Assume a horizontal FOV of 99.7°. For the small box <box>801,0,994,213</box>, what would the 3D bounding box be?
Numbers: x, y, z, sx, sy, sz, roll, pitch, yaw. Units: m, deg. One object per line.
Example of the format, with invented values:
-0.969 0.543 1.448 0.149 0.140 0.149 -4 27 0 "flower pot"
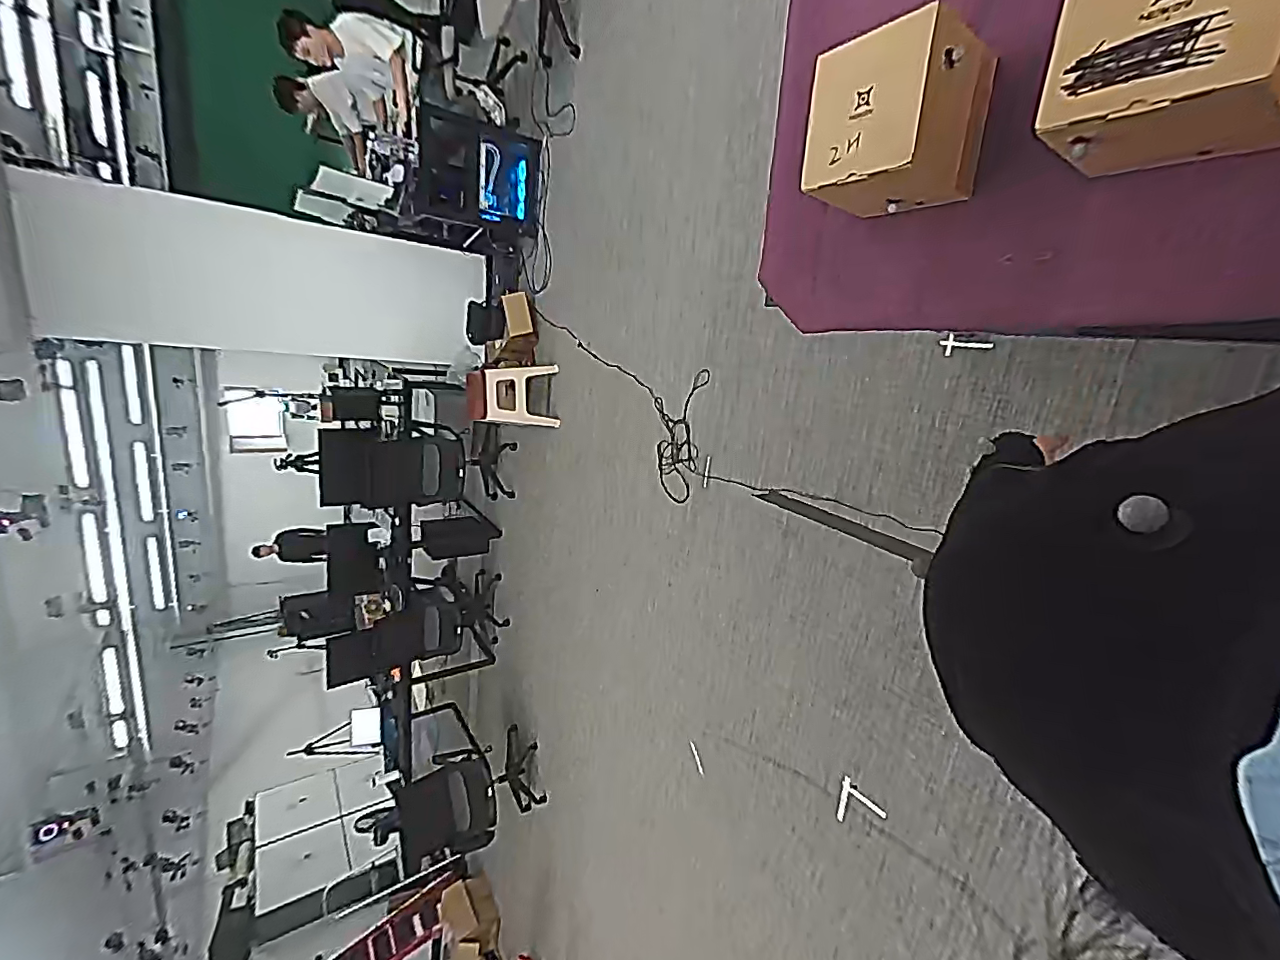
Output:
0.347 -0.484 0.732 0.168 0.176 0.179 20 110 52 "small box"
